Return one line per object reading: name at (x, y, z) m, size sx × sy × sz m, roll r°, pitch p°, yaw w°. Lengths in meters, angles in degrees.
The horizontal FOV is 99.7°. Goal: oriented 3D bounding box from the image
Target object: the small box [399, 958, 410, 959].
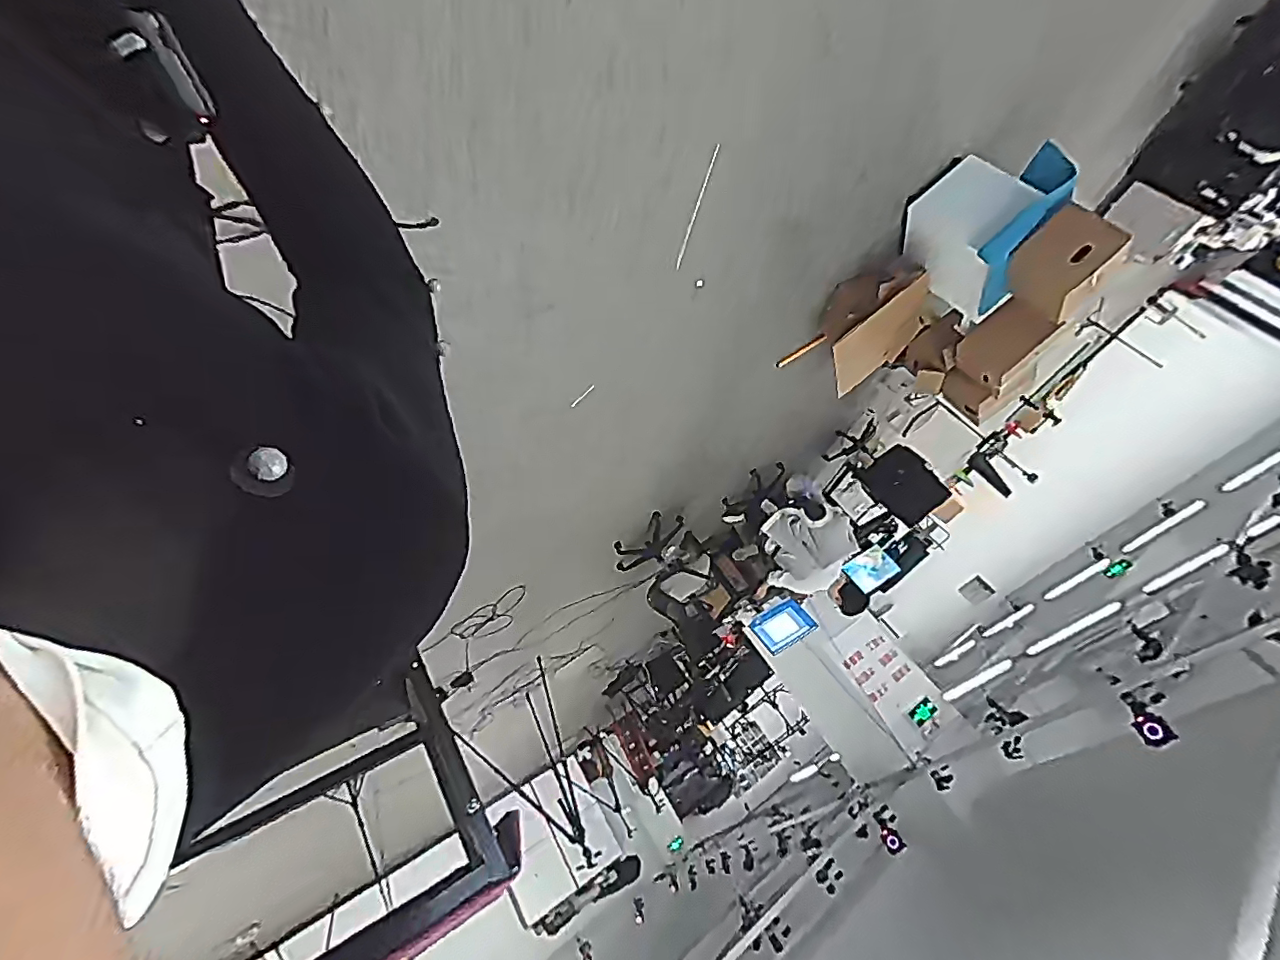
small box at (-0.626, 1.310, 1.315) m, size 0.179 × 0.176 × 0.168 m, roll -21°, pitch 150°, yaw -29°
